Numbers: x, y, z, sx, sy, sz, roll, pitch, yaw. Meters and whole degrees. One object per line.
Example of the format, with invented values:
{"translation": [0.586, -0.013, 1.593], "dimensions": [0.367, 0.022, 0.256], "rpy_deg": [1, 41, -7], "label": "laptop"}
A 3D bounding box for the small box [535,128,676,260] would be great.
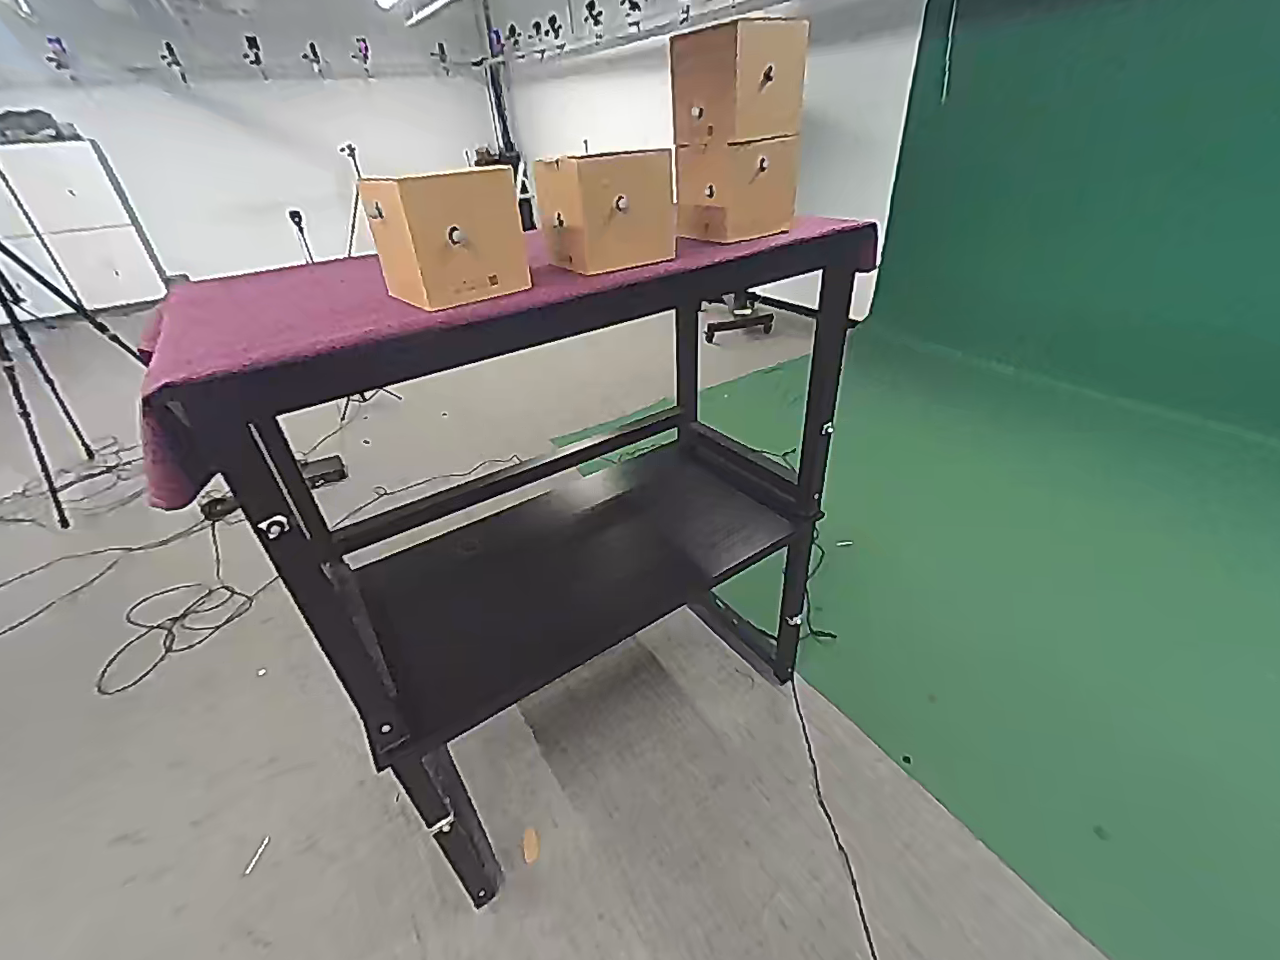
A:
{"translation": [-0.051, -0.474, 0.895], "dimensions": [0.179, 0.176, 0.168], "rpy_deg": [-21, 38, -24], "label": "small box"}

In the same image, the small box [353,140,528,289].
{"translation": [-0.280, -0.383, 0.780], "dimensions": [0.168, 0.176, 0.179], "rpy_deg": [-26, 39, -30], "label": "small box"}

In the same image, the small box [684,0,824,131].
{"translation": [0.191, -0.716, 0.945], "dimensions": [0.179, 0.176, 0.168], "rpy_deg": [-26, 40, -26], "label": "small box"}

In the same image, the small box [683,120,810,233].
{"translation": [0.200, -0.582, 1.039], "dimensions": [0.179, 0.176, 0.168], "rpy_deg": [-20, 37, -23], "label": "small box"}
